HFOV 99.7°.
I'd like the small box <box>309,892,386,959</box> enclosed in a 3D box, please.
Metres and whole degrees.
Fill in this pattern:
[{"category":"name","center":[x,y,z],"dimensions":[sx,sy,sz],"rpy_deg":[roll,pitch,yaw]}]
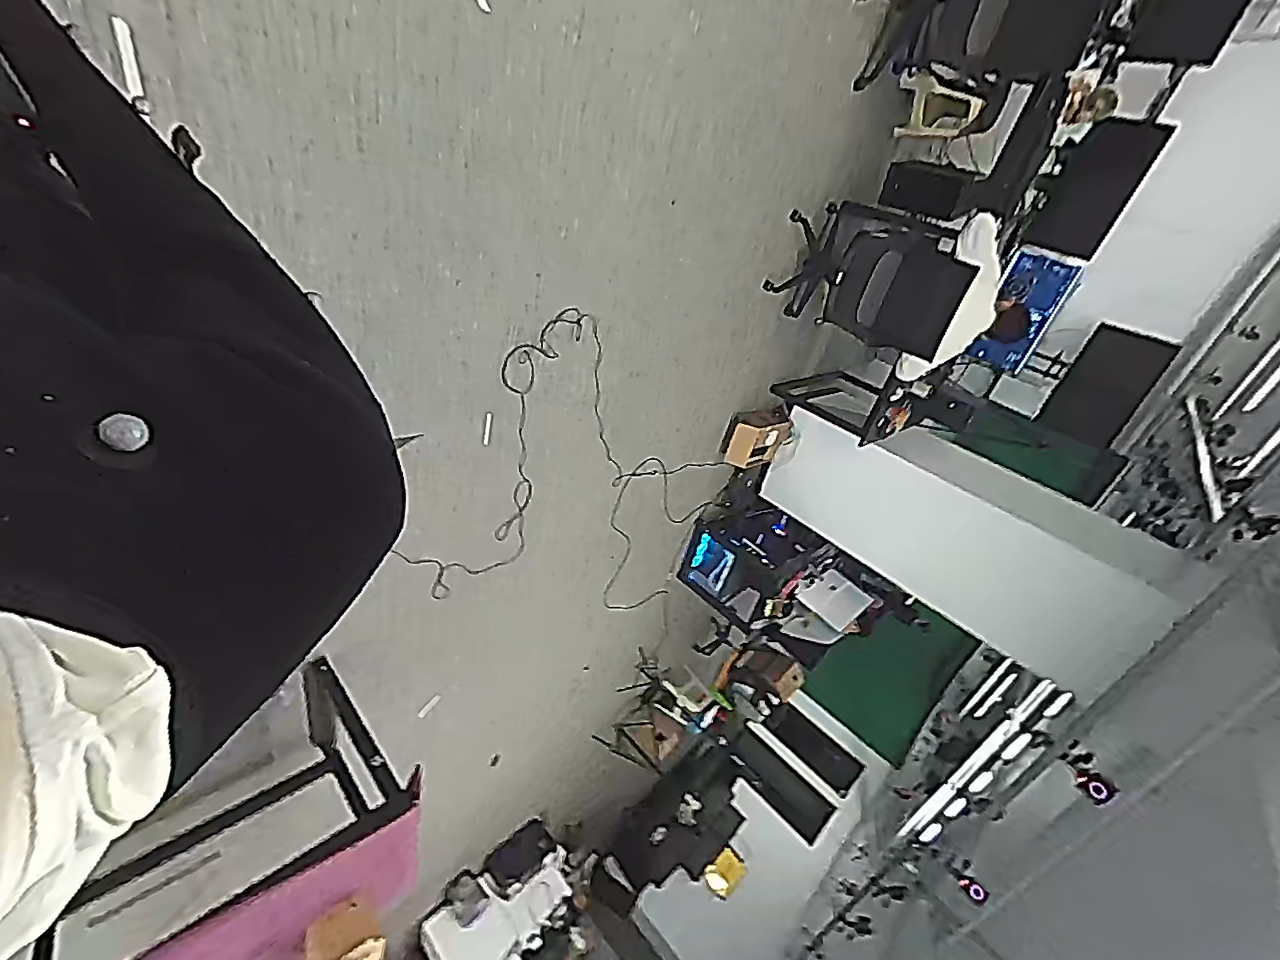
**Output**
[{"category":"small box","center":[-0.937,1.473,1.725],"dimensions":[0.168,0.176,0.179],"rpy_deg":[-11,129,-48]}]
